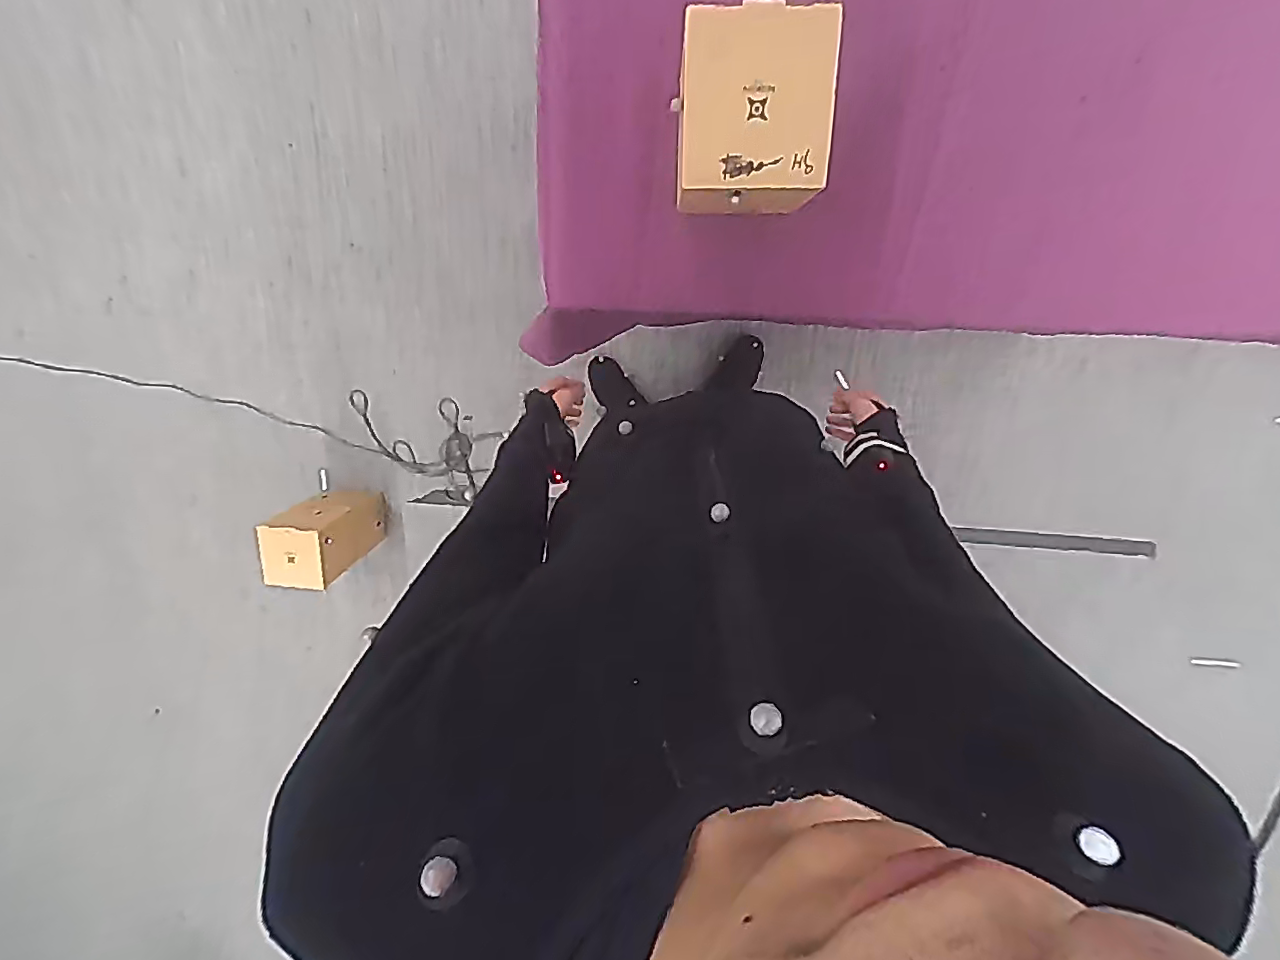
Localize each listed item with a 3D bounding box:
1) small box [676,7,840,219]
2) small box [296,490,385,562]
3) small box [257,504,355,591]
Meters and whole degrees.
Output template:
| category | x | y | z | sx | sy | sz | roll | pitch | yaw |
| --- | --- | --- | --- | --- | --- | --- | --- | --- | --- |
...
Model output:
| category | x | y | z | sx | sy | sz | roll | pitch | yaw |
| --- | --- | --- | --- | --- | --- | --- | --- | --- | --- |
| small box | 0.131 | -0.436 | 0.669 | 0.168 | 0.176 | 0.179 | 1 | 107 | 2 |
| small box | -0.910 | 0.135 | 1.655 | 0.179 | 0.176 | 0.168 | 4 | 108 | 1 |
| small box | -0.916 | 0.184 | 1.501 | 0.168 | 0.176 | 0.179 | 6 | 108 | 1 |
